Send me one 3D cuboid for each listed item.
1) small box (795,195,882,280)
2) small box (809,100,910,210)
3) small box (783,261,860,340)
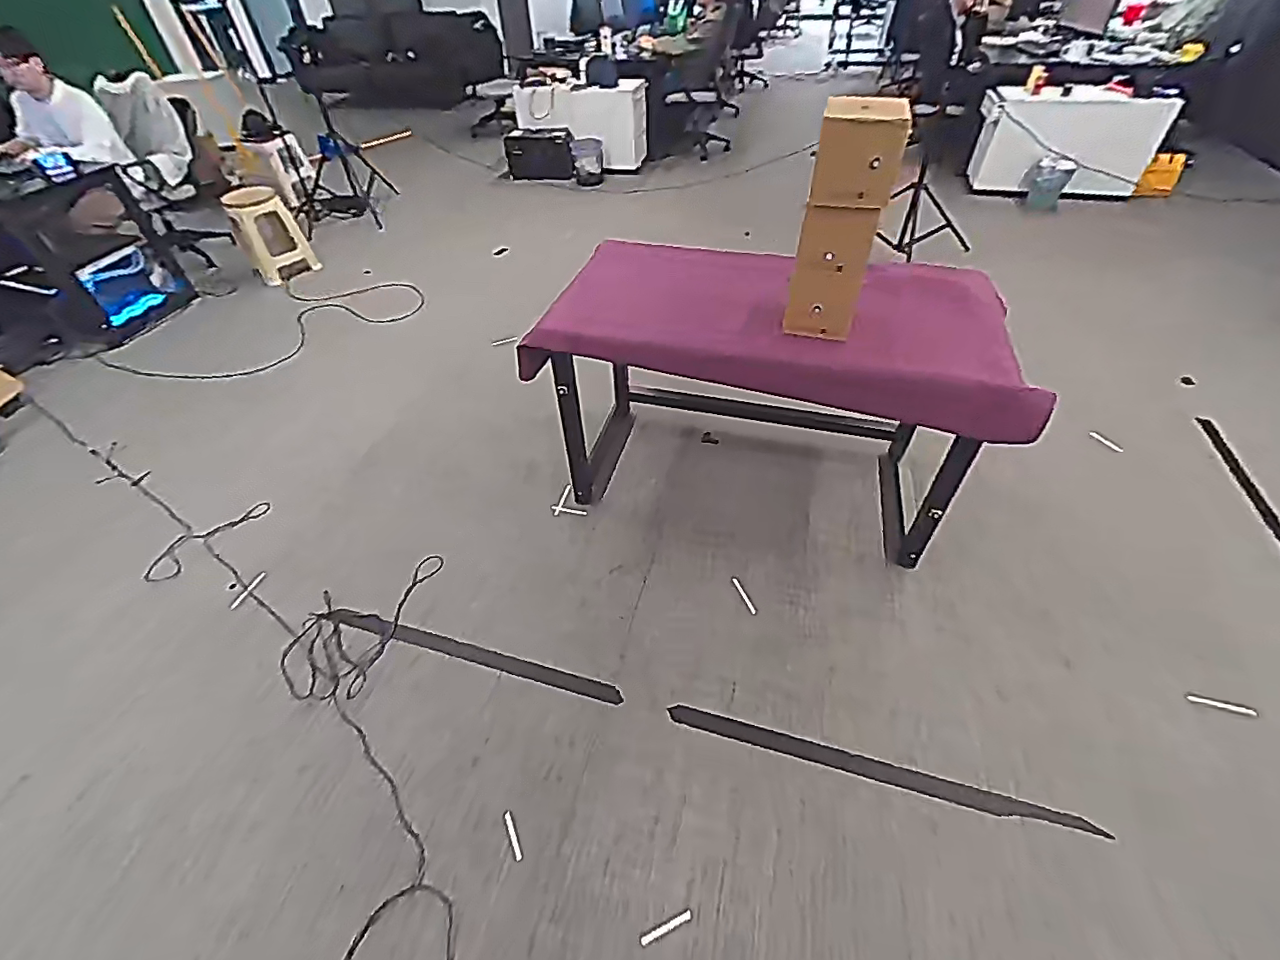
[{"bbox_3d":[0.475,-0.603,1.296,0.168,0.176,0.179,12,48,14],"label":"small box"},{"bbox_3d":[0.466,-0.700,1.165,0.168,0.176,0.179,10,47,11],"label":"small box"},{"bbox_3d":[0.476,-0.486,1.412,0.168,0.176,0.179,13,47,14],"label":"small box"}]
